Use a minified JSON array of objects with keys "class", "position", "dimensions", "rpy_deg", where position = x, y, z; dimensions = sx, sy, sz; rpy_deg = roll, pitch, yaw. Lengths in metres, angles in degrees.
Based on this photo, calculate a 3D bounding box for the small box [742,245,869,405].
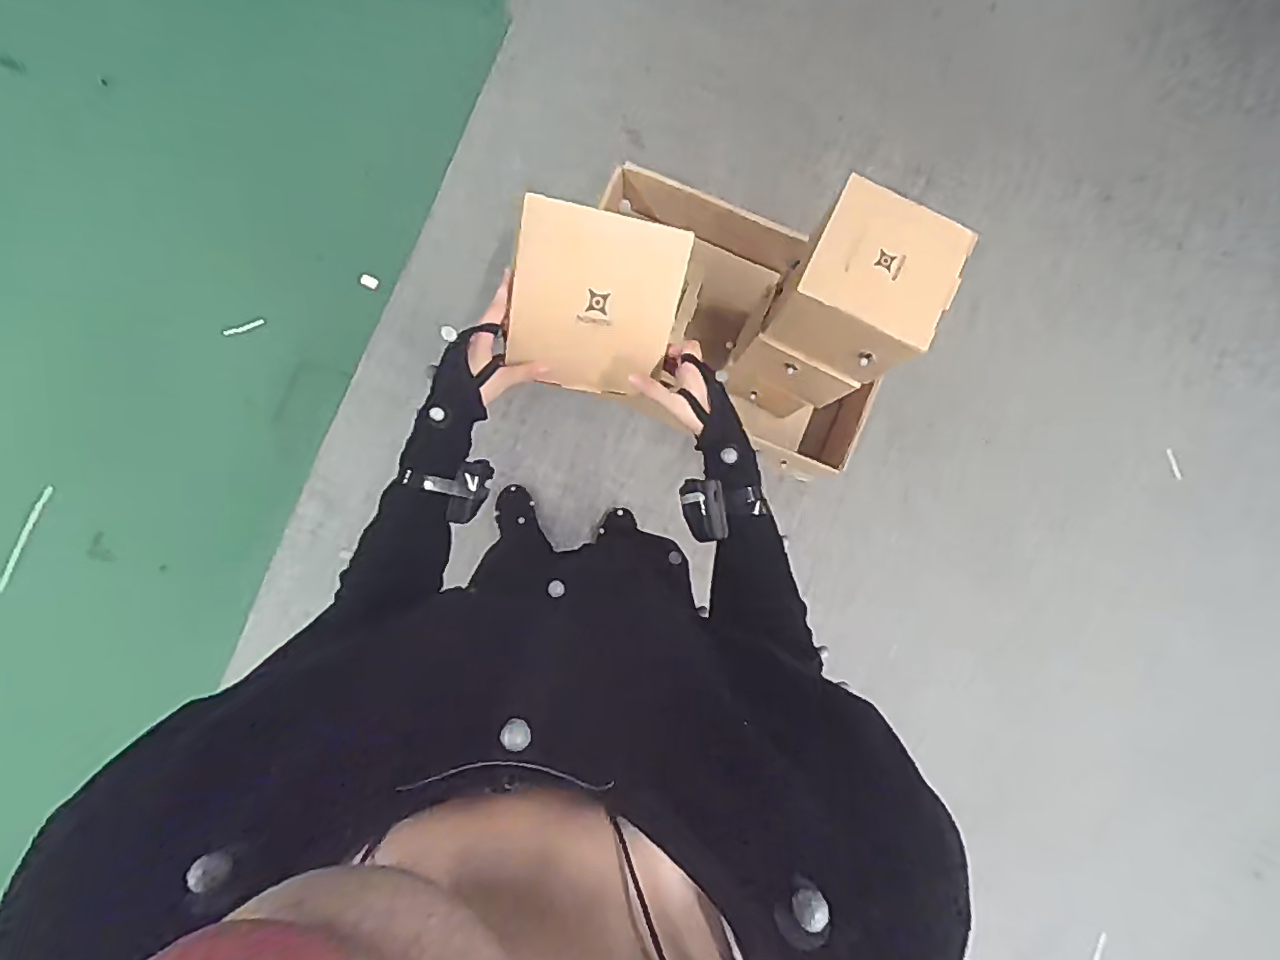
[{"class":"small box","position":[0.286,-0.237,0.880],"dimensions":[0.179,0.176,0.168],"rpy_deg":[27,87,0]}]

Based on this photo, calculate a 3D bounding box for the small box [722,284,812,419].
[{"class":"small box","position":[0.271,-0.235,1.043],"dimensions":[0.168,0.176,0.179],"rpy_deg":[28,86,1]}]

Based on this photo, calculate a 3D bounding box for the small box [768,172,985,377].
[{"class":"small box","position":[0.297,-0.254,0.717],"dimensions":[0.179,0.176,0.168],"rpy_deg":[26,86,1]}]
